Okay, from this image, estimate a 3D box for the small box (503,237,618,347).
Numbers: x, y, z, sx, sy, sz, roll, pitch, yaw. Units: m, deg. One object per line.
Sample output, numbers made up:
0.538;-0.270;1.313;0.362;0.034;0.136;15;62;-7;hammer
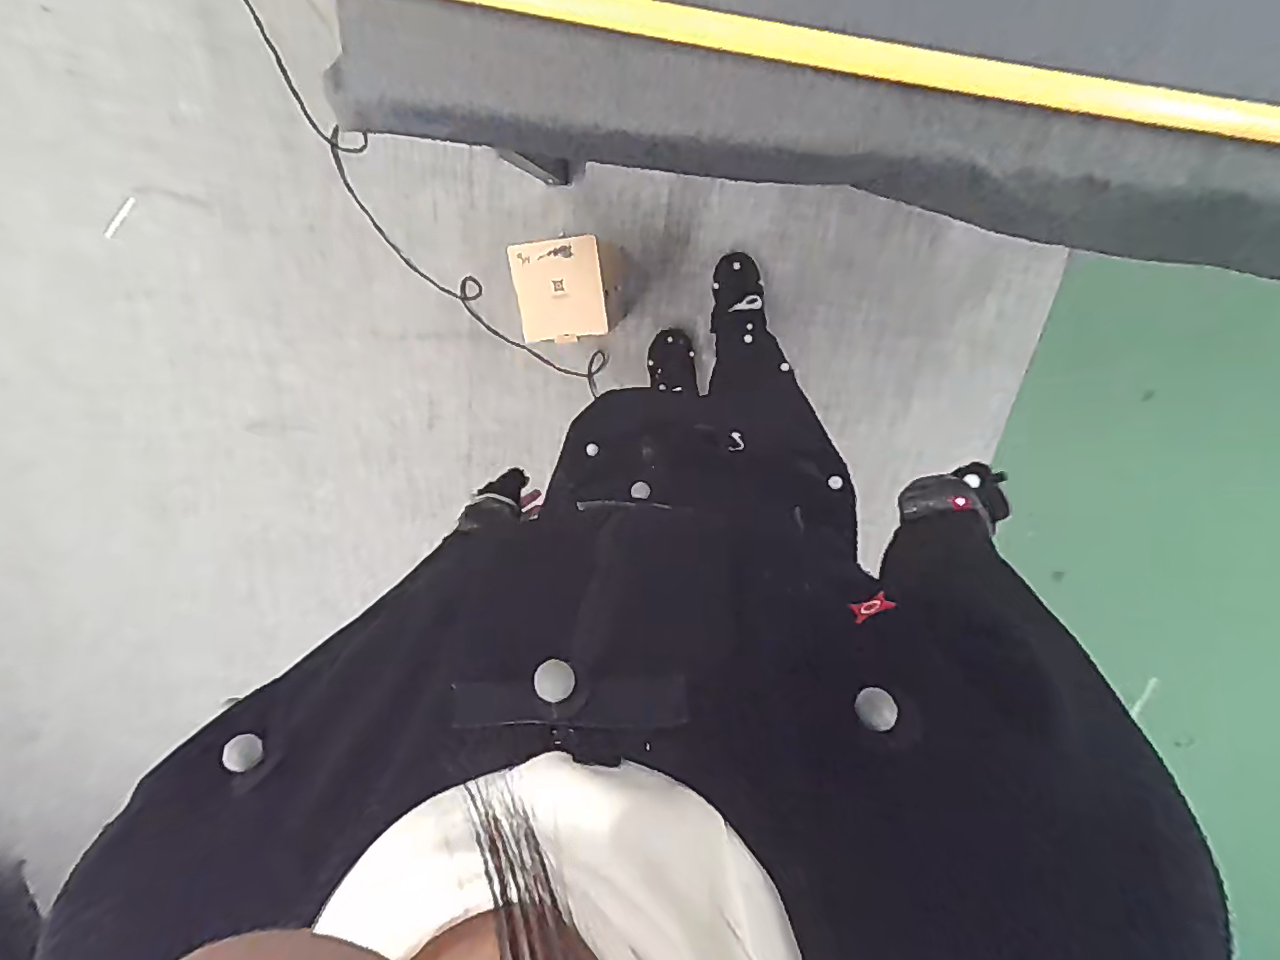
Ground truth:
-0.147;-0.373;1.072;0.168;0.176;0.179;-7;110;10;small box
